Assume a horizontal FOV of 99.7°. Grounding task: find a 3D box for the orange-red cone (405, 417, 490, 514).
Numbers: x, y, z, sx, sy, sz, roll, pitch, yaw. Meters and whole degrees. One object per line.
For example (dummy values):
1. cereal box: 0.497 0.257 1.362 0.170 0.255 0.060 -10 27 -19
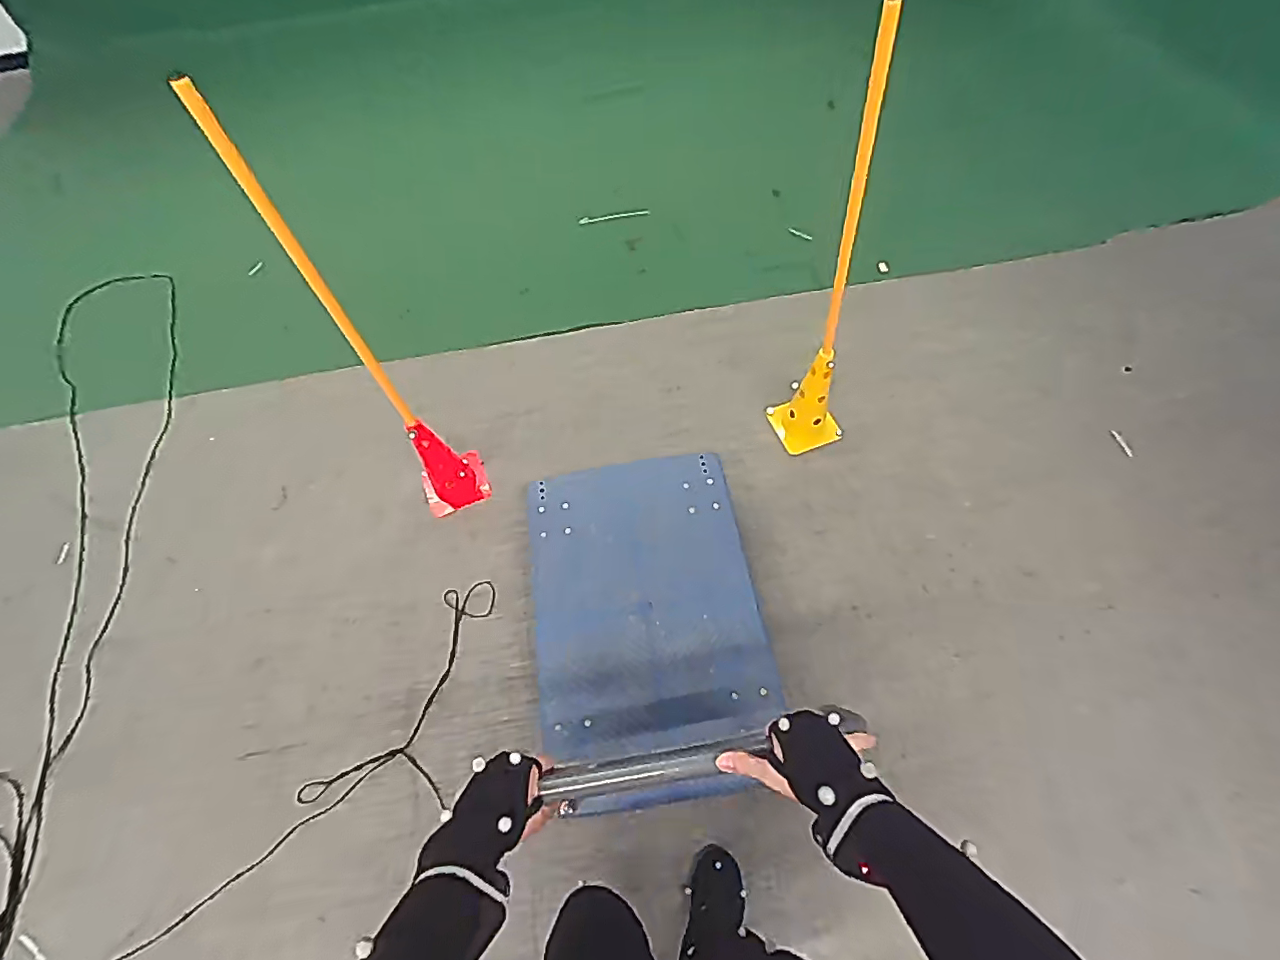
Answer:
1. orange-red cone: -0.622 -0.074 1.644 0.199 0.360 0.198 -23 62 -7
